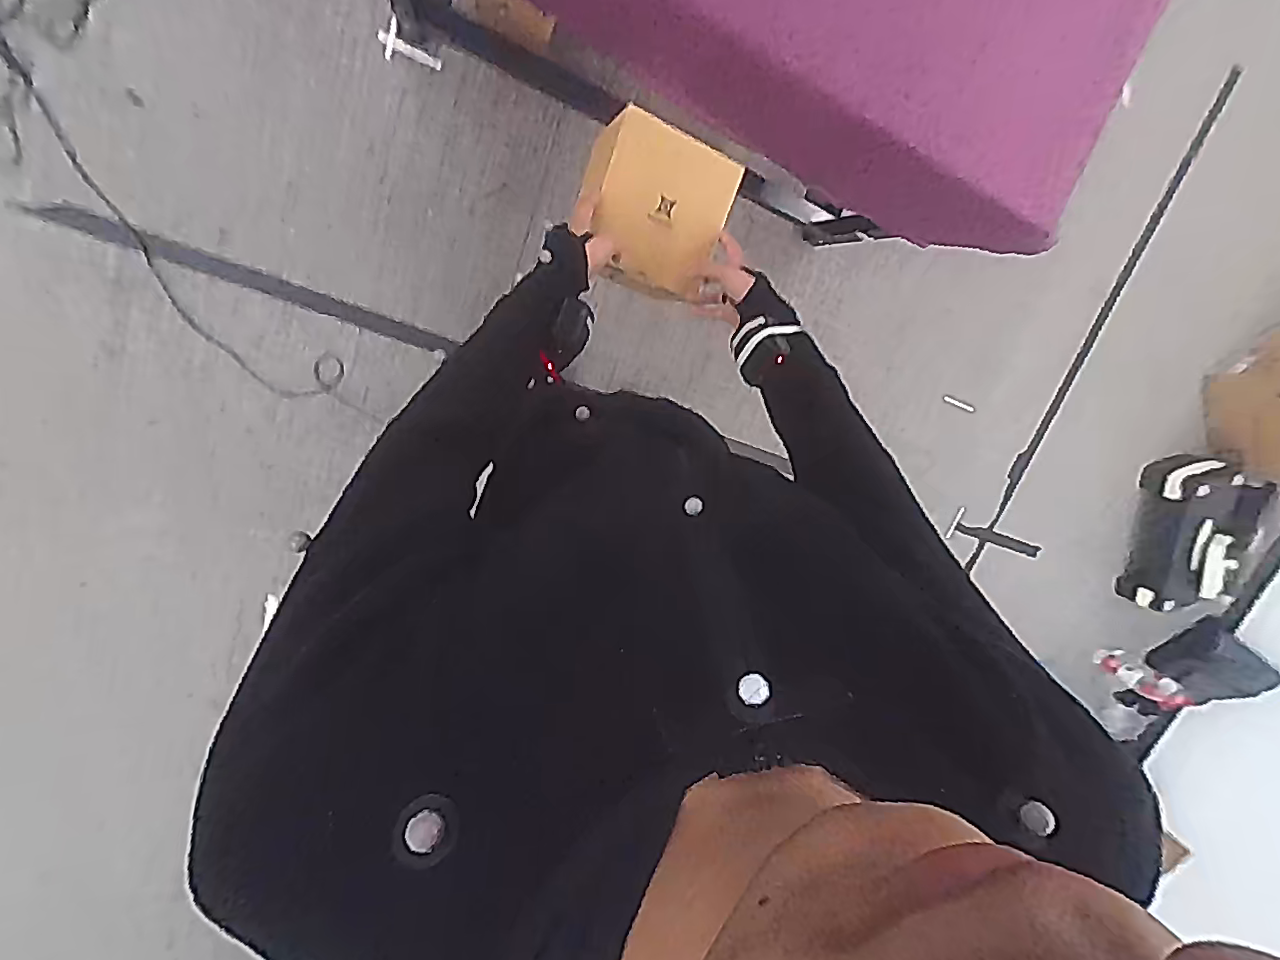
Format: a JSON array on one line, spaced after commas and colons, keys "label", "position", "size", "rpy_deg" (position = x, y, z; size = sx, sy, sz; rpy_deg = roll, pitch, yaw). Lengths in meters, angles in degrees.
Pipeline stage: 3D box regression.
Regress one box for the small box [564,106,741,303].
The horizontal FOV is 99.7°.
[{"label": "small box", "position": [0.005, -0.359, 0.739], "size": [0.168, 0.176, 0.179], "rpy_deg": [14, 105, -22]}]
